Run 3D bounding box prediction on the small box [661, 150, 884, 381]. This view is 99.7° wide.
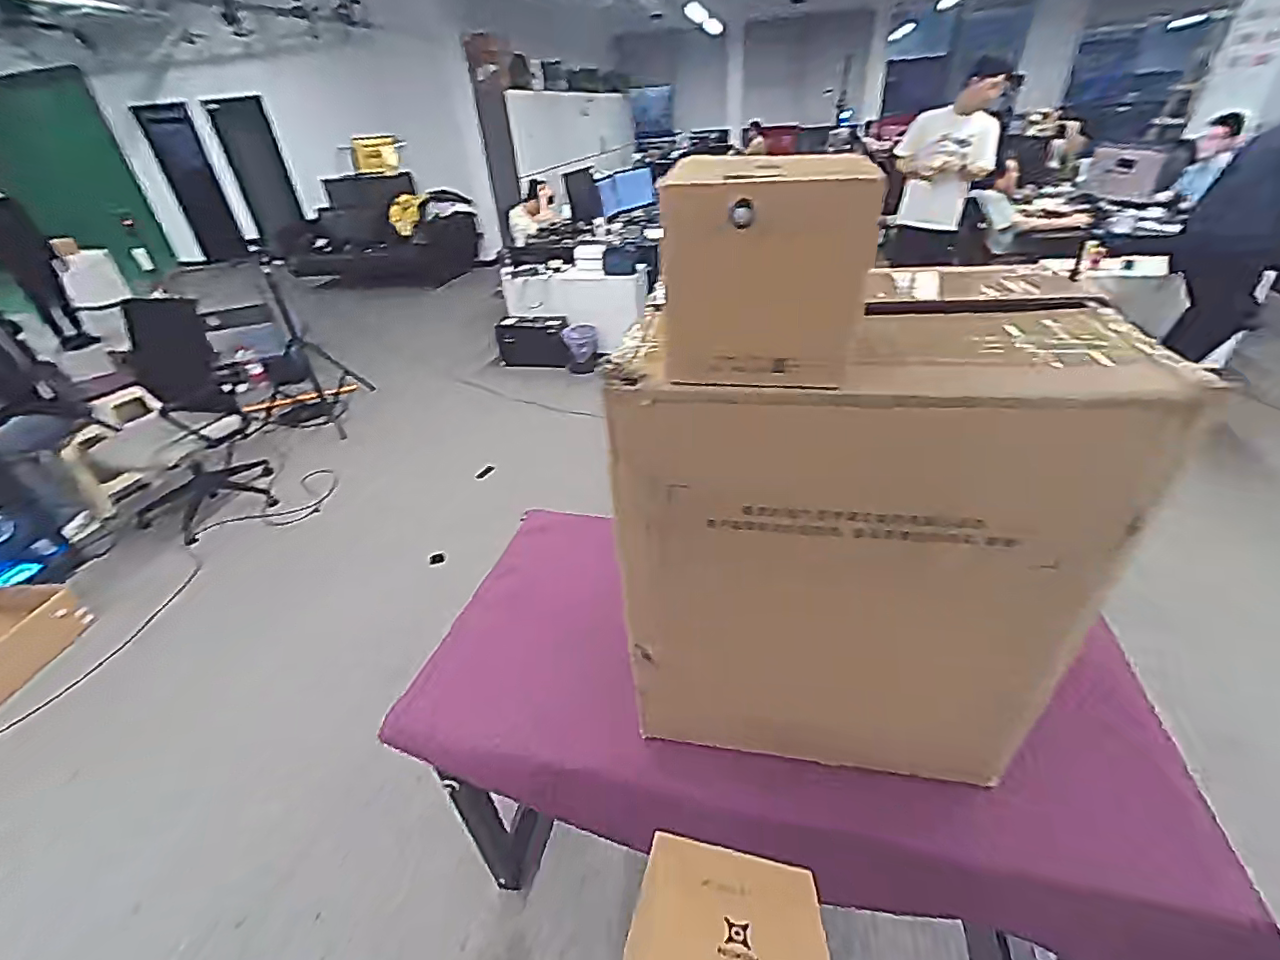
[{"bbox_3d":[0.114,-0.207,0.511,0.168,0.176,0.179,4,35,11],"label":"small box"}]

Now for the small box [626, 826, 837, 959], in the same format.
[{"bbox_3d":[0.072,0.467,0.483,0.168,0.176,0.179,14,13,4],"label":"small box"}]
